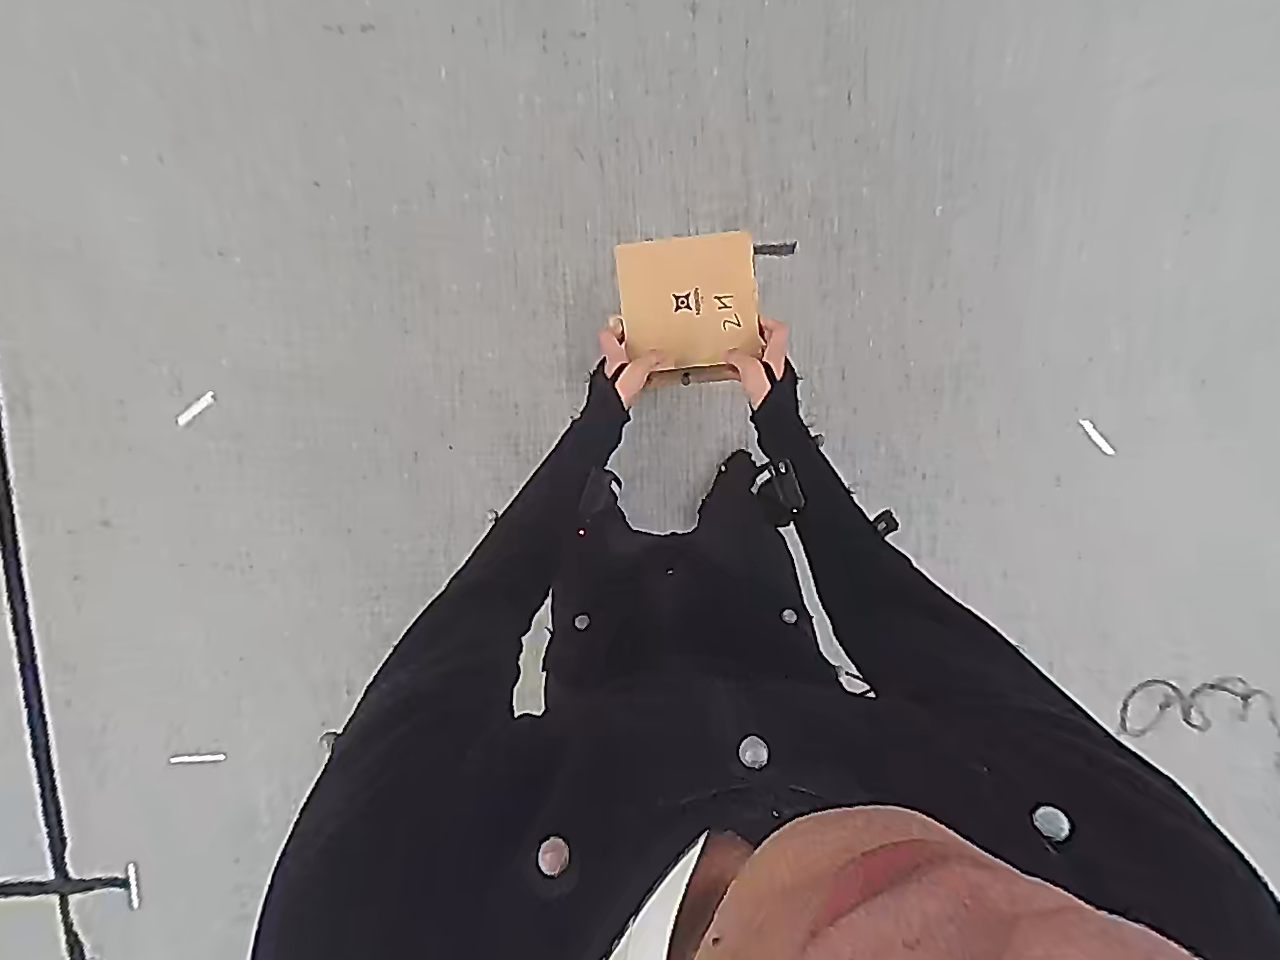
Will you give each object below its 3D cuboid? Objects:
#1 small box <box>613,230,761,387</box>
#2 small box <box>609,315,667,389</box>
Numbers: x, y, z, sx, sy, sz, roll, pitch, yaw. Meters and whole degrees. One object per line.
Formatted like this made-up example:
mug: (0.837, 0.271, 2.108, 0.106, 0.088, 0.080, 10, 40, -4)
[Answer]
small box: (0.062, -0.226, 0.756, 0.179, 0.176, 0.168, -5, 94, 2)
small box: (0.004, -0.342, 1.453, 0.168, 0.176, 0.179, -4, 97, -2)
